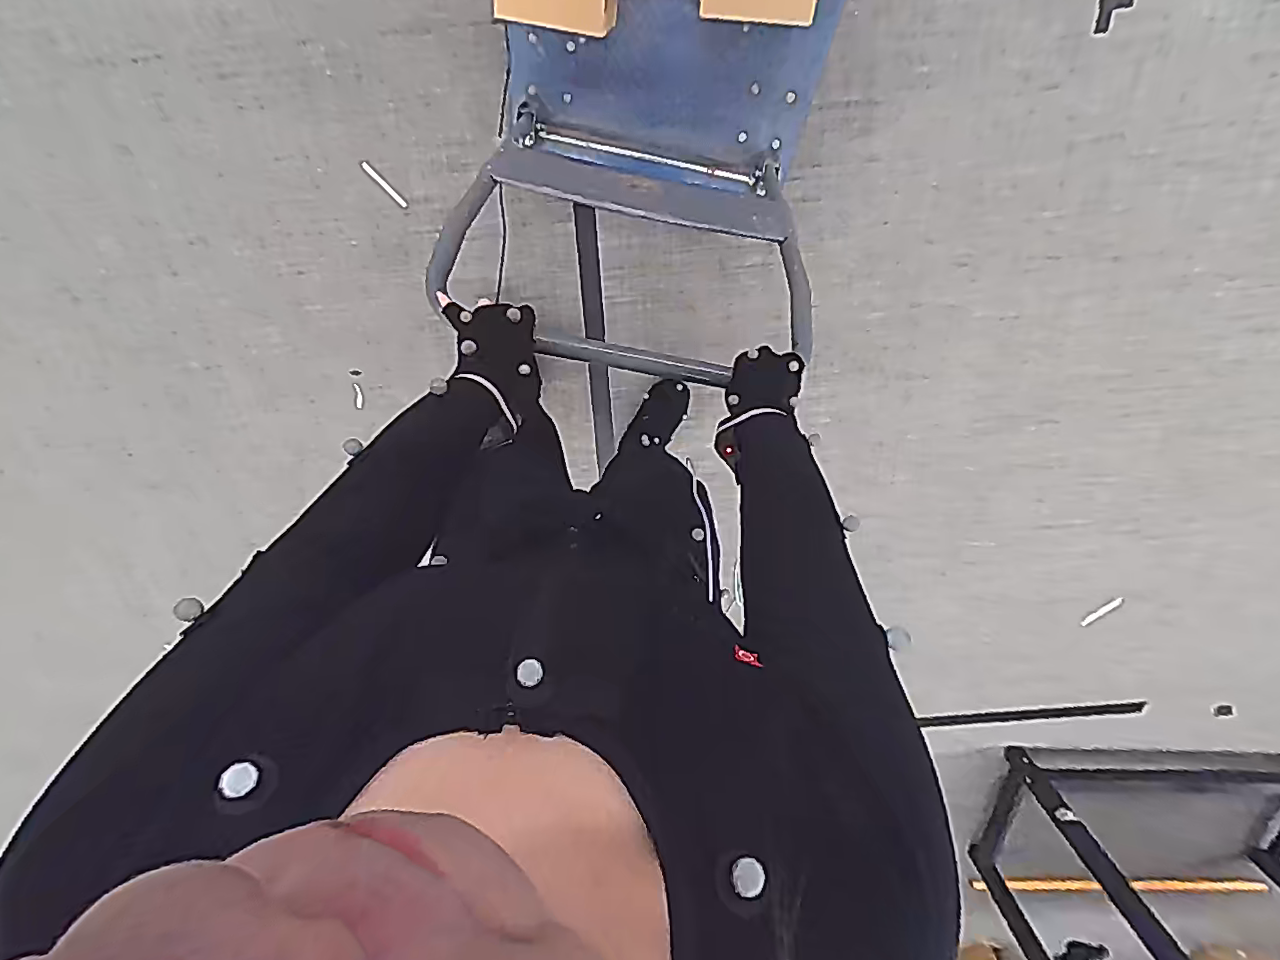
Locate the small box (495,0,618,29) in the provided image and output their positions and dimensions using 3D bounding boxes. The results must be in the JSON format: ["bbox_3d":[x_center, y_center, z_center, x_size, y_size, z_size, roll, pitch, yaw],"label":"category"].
[{"bbox_3d":[-0.122,-0.830,0.843,0.179,0.176,0.168,7,135,-4],"label":"small box"}]

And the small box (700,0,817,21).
[{"bbox_3d":[0.189,-0.818,0.821,0.179,0.176,0.168,6,135,1],"label":"small box"}]
